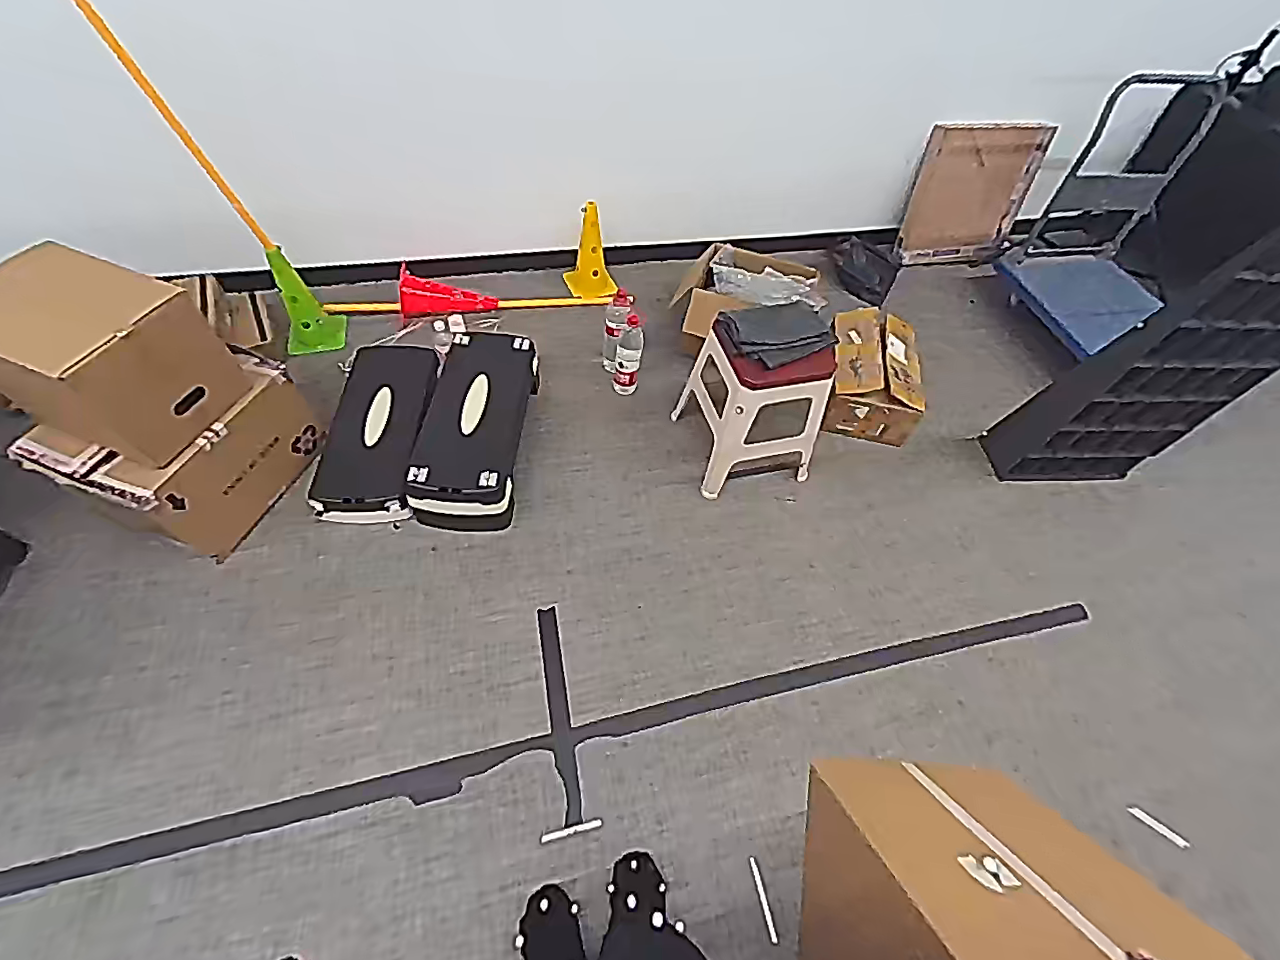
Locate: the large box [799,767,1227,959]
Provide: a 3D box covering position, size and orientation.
[{"bbox_3d":[0.426,0.624,0.675,0.320,0.408,0.320,5,89,-2],"label":"large box"}]
